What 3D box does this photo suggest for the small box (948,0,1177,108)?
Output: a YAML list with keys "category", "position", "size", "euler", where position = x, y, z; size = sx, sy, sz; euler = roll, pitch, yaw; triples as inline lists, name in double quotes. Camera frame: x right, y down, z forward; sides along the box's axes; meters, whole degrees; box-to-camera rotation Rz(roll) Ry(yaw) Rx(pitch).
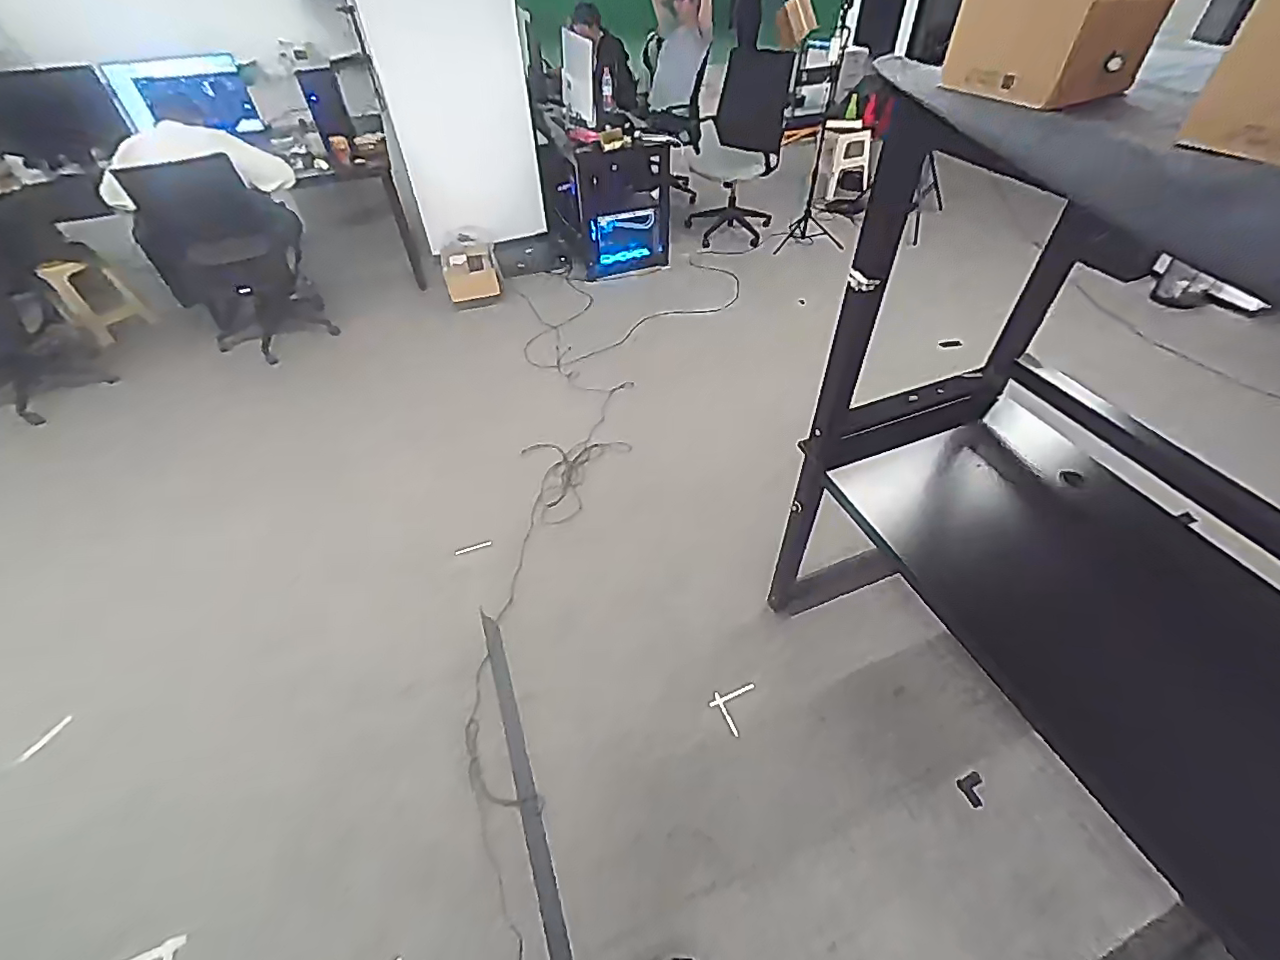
- category: "small box"
  position: [0.526, -0.585, 0.666]
  size: [0.179, 0.176, 0.168]
  euler: [-23, 51, -18]
